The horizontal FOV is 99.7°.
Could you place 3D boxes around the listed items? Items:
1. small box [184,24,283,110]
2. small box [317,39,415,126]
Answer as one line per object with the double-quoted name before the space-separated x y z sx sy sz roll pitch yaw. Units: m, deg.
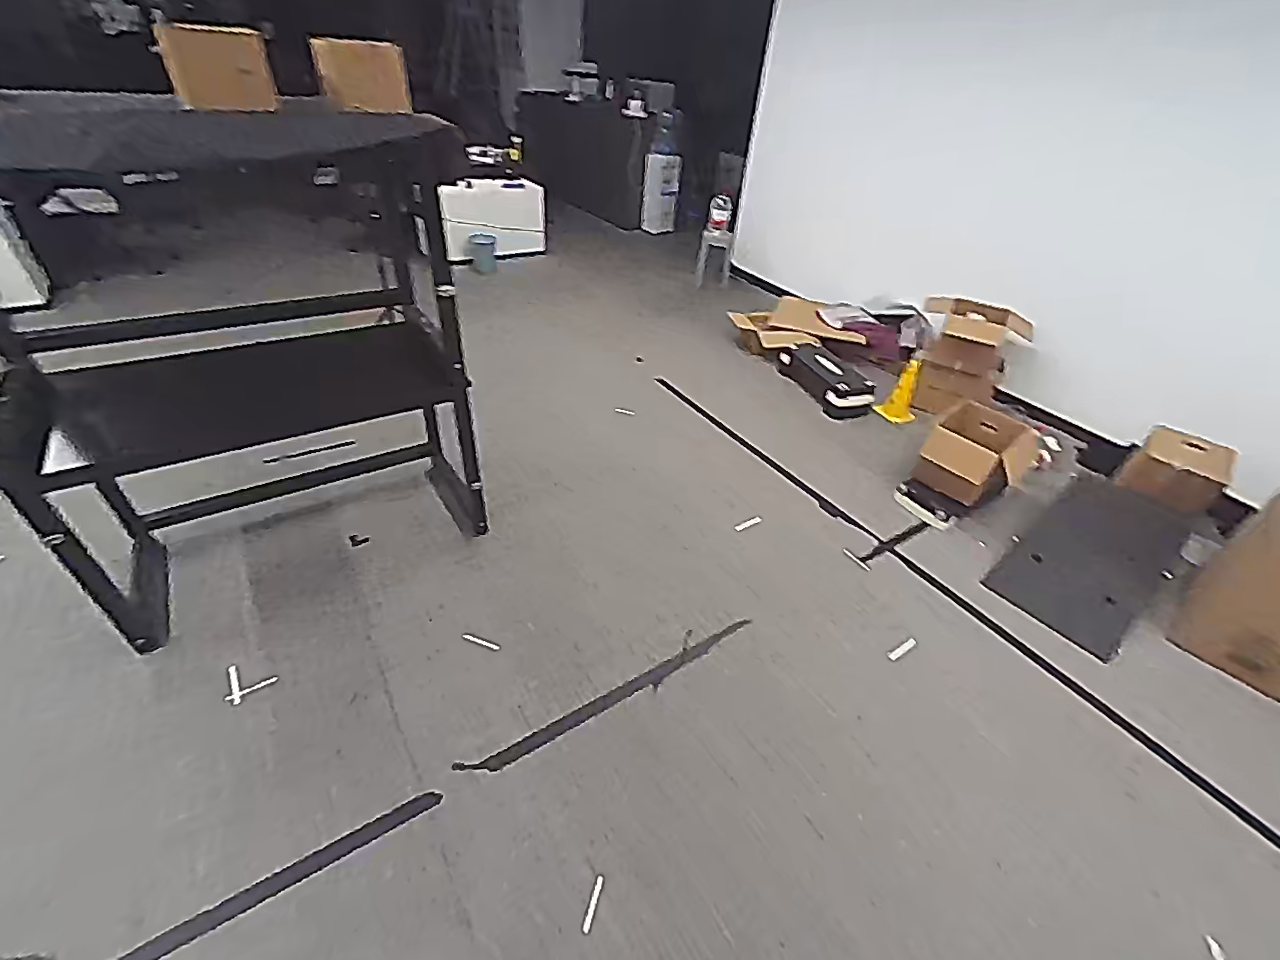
"small box" -1.084 -1.102 1.448 0.168 0.176 0.179 -20 46 -29
"small box" -0.696 -1.017 1.387 0.168 0.176 0.179 -22 45 -30
